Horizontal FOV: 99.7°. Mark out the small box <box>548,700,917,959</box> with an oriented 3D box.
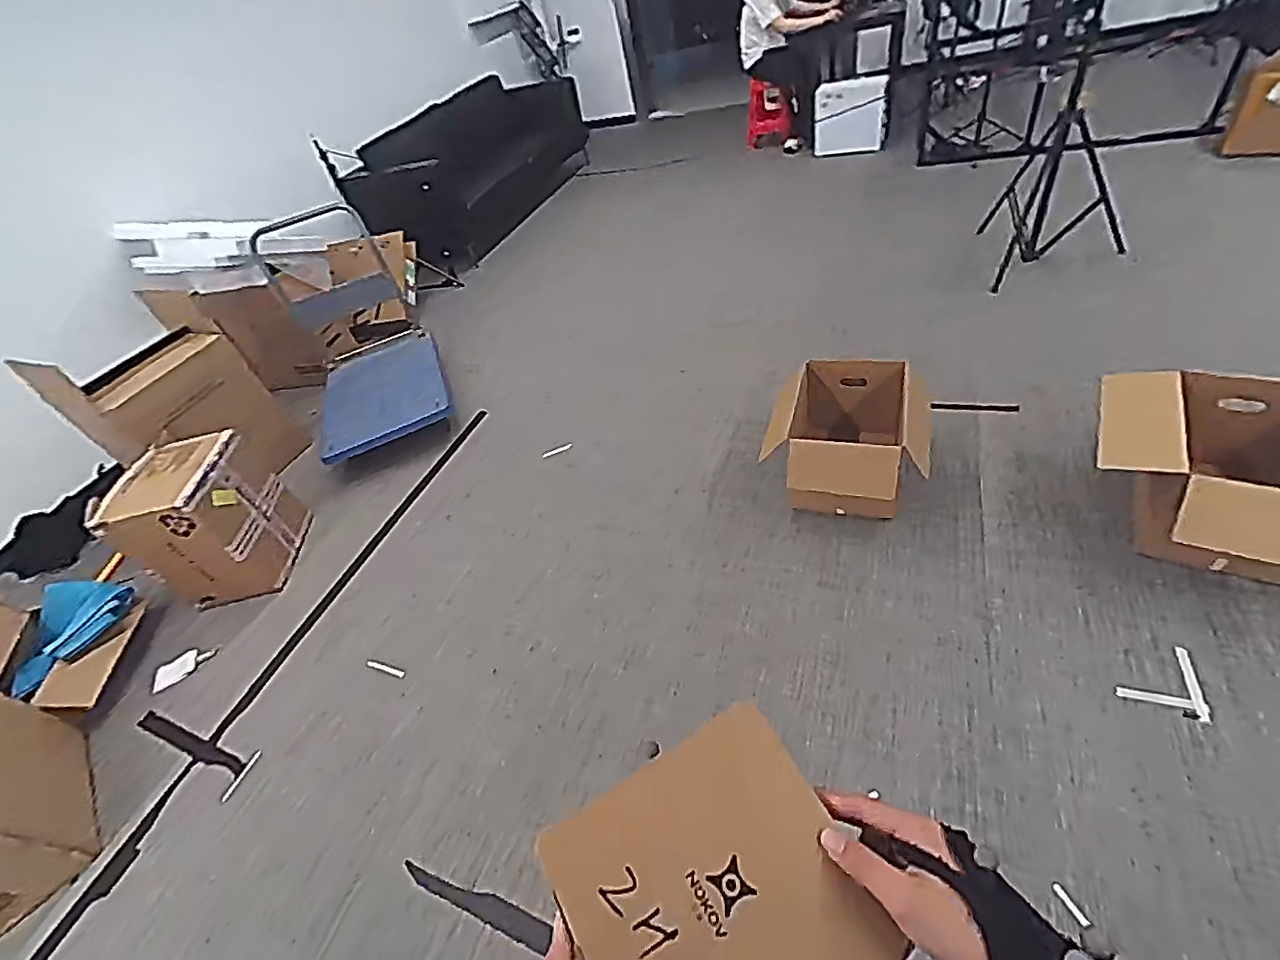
[{"bbox_3d":[0.049,0.295,0.397,0.179,0.176,0.168,-24,59,-18],"label":"small box"}]
